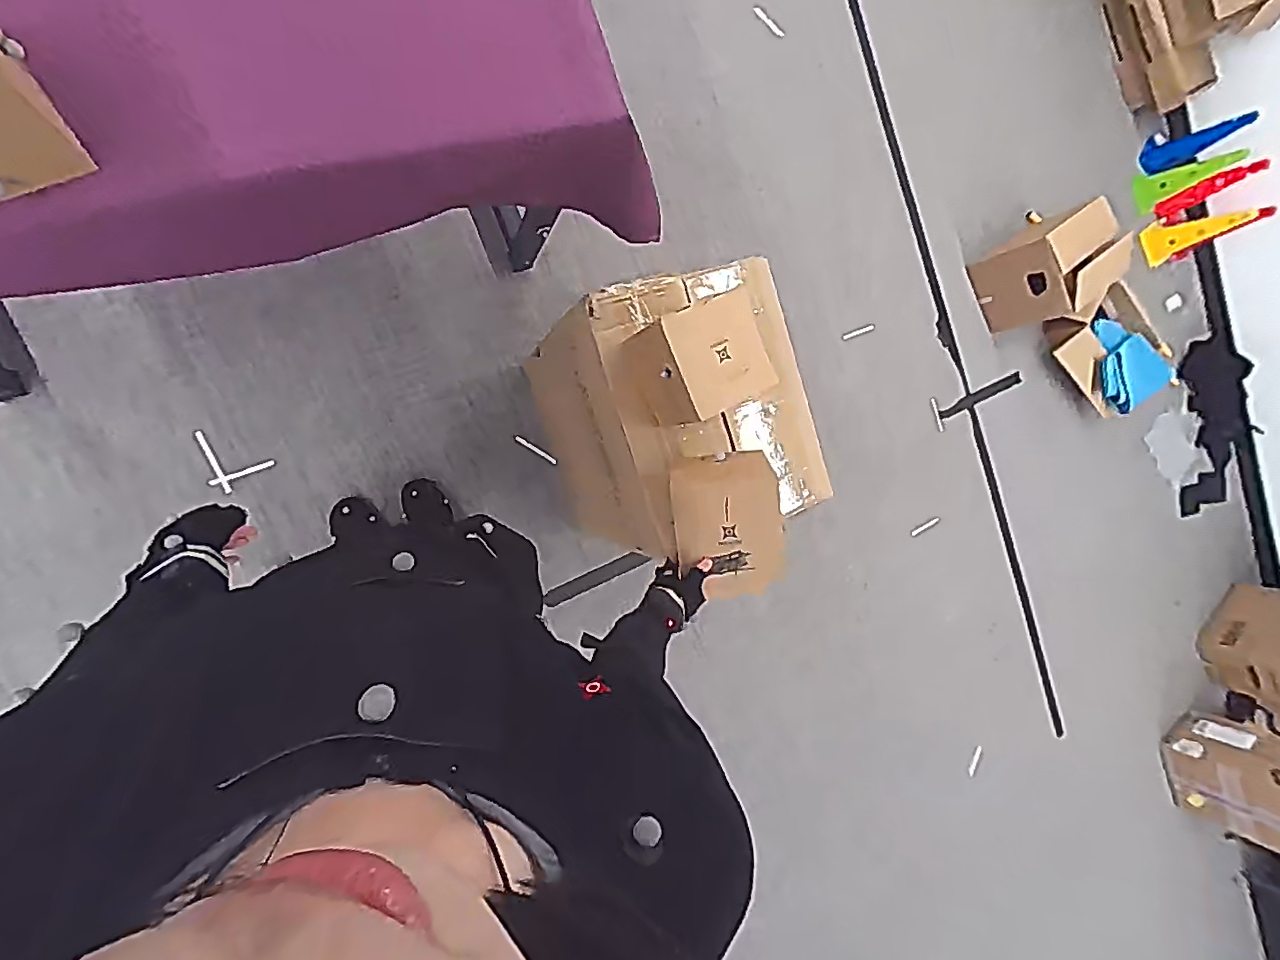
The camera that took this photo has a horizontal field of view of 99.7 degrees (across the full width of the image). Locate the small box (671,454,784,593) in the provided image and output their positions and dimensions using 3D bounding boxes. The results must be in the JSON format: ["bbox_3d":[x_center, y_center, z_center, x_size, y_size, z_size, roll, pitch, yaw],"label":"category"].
[{"bbox_3d":[0.141,0.067,0.902,0.168,0.176,0.179,-6,107,5],"label":"small box"}]

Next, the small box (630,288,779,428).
[{"bbox_3d":[0.103,-0.203,0.939,0.168,0.176,0.179,-27,101,-18],"label":"small box"}]

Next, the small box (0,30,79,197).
[{"bbox_3d":[-0.690,-0.380,0.499,0.179,0.176,0.168,-34,101,-20],"label":"small box"}]
